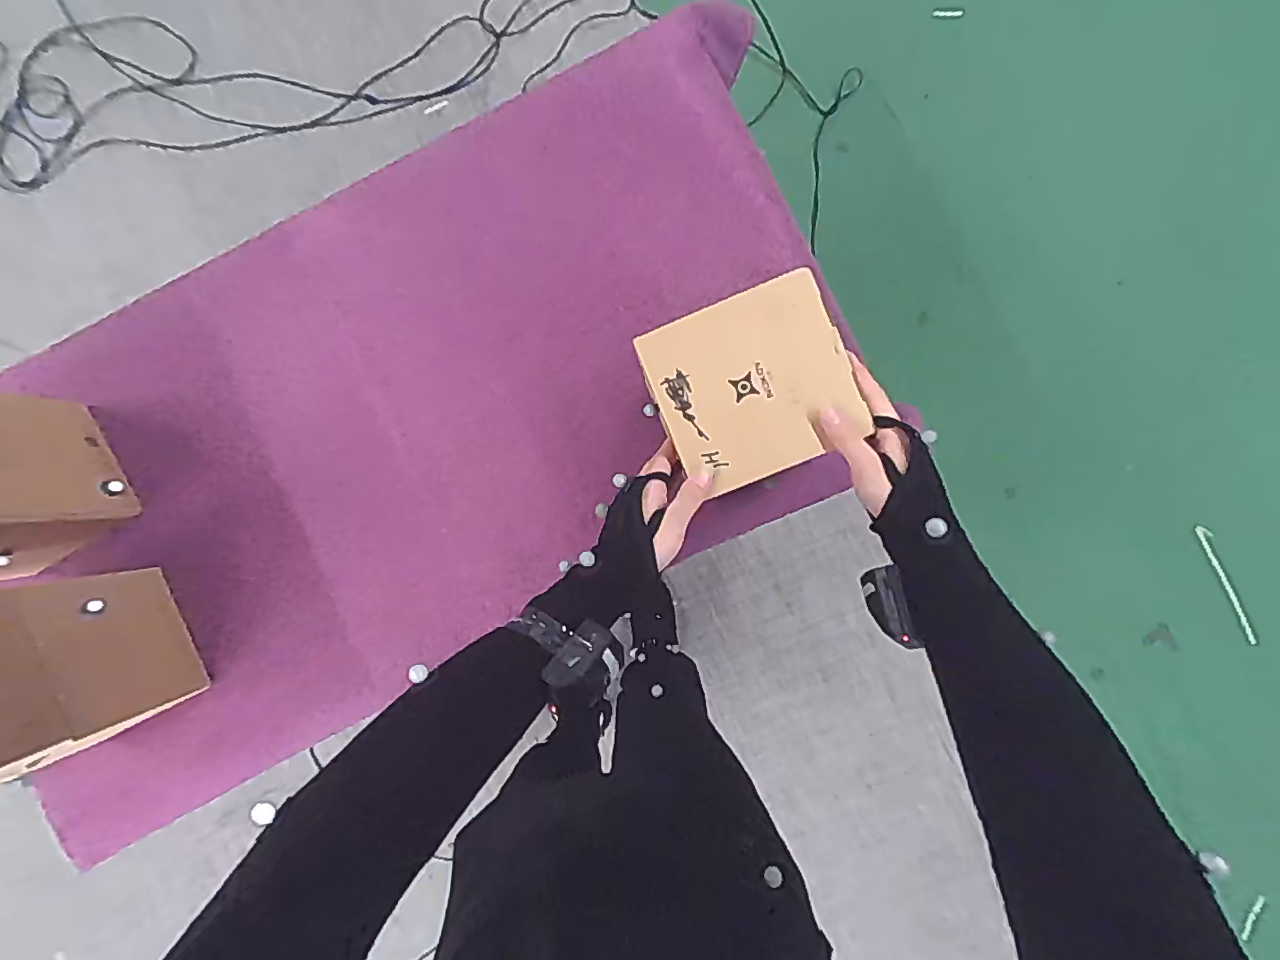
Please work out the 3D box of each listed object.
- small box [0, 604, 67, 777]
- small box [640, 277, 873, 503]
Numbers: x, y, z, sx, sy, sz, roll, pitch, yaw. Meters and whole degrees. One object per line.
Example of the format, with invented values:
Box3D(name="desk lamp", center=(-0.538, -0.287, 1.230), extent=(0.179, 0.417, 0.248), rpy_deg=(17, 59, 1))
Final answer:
Box3D(name="small box", center=(-0.681, 0.216, 0.468), extent=(0.168, 0.176, 0.179), rpy_deg=(-29, 87, 2))
Box3D(name="small box", center=(0.110, -0.082, 0.577), extent=(0.179, 0.176, 0.168), rpy_deg=(-21, 87, 3))
